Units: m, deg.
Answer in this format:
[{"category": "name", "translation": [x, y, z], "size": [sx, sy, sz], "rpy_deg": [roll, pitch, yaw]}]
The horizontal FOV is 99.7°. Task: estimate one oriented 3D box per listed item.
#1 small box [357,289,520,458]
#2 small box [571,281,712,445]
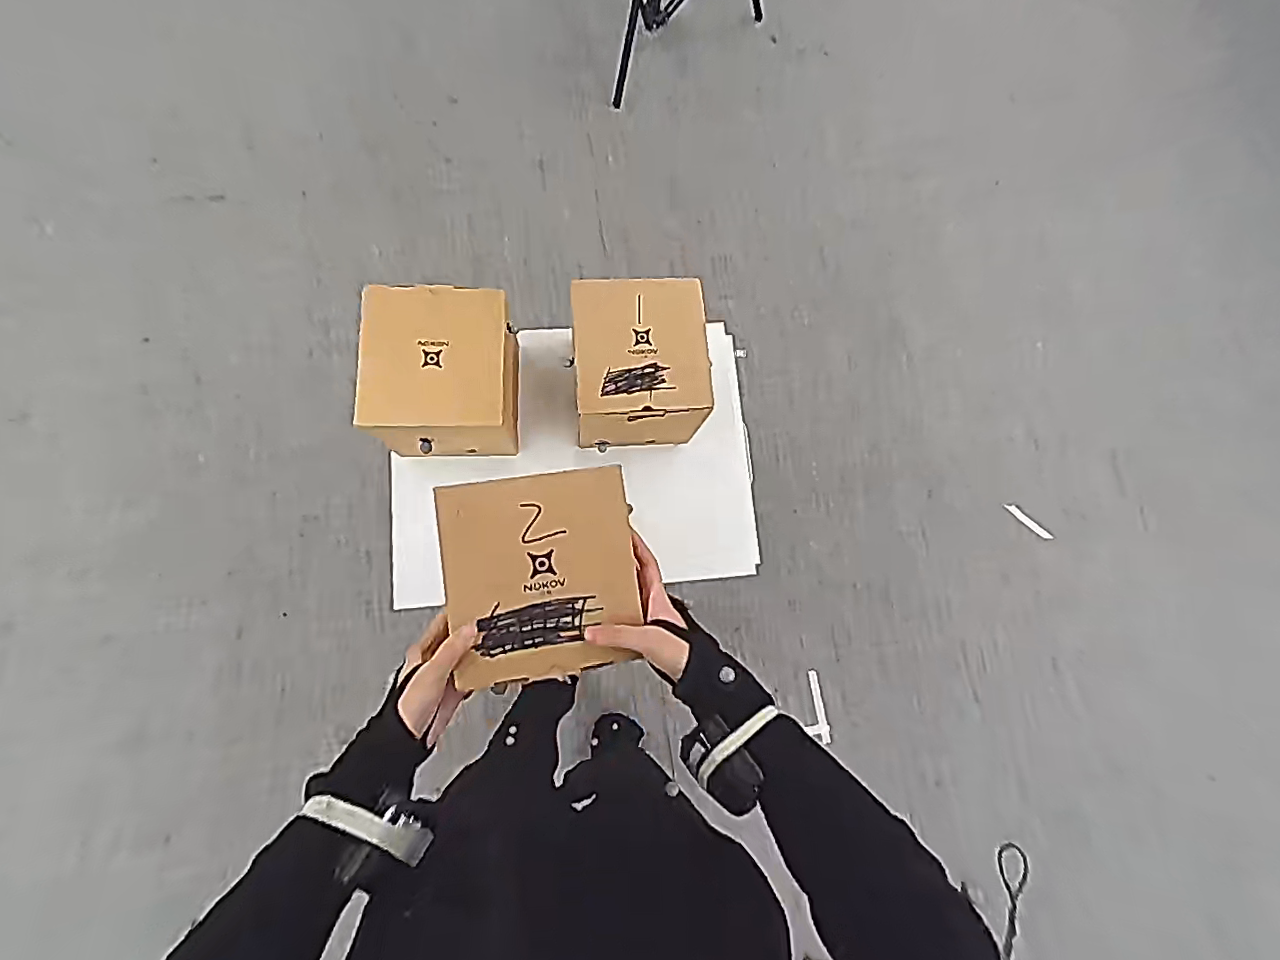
[{"category": "small box", "translation": [-0.249, -0.127, 0.708], "size": [0.168, 0.176, 0.179], "rpy_deg": [-1, 79, -7]}, {"category": "small box", "translation": [-0.006, -0.148, 0.737], "size": [0.168, 0.176, 0.179], "rpy_deg": [-4, 80, -7]}]
